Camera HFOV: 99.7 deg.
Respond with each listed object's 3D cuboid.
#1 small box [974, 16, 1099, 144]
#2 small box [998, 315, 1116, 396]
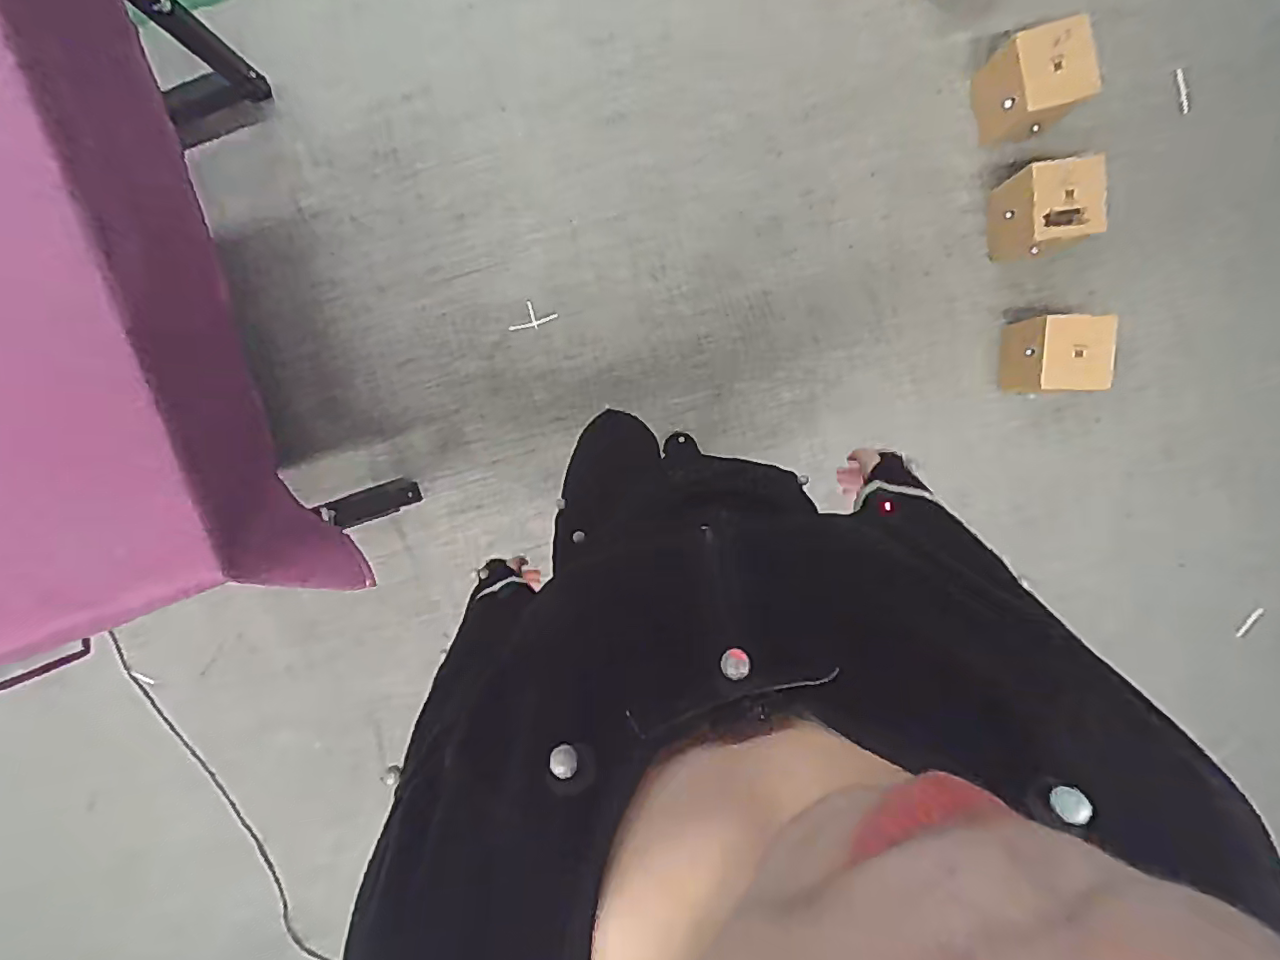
[{"bbox_3d":[0.934,-0.936,1.288,0.168,0.176,0.179,-14,95,2],"label":"small box"},{"bbox_3d":[1.032,-0.307,1.352,0.168,0.176,0.179,2,96,2],"label":"small box"}]
